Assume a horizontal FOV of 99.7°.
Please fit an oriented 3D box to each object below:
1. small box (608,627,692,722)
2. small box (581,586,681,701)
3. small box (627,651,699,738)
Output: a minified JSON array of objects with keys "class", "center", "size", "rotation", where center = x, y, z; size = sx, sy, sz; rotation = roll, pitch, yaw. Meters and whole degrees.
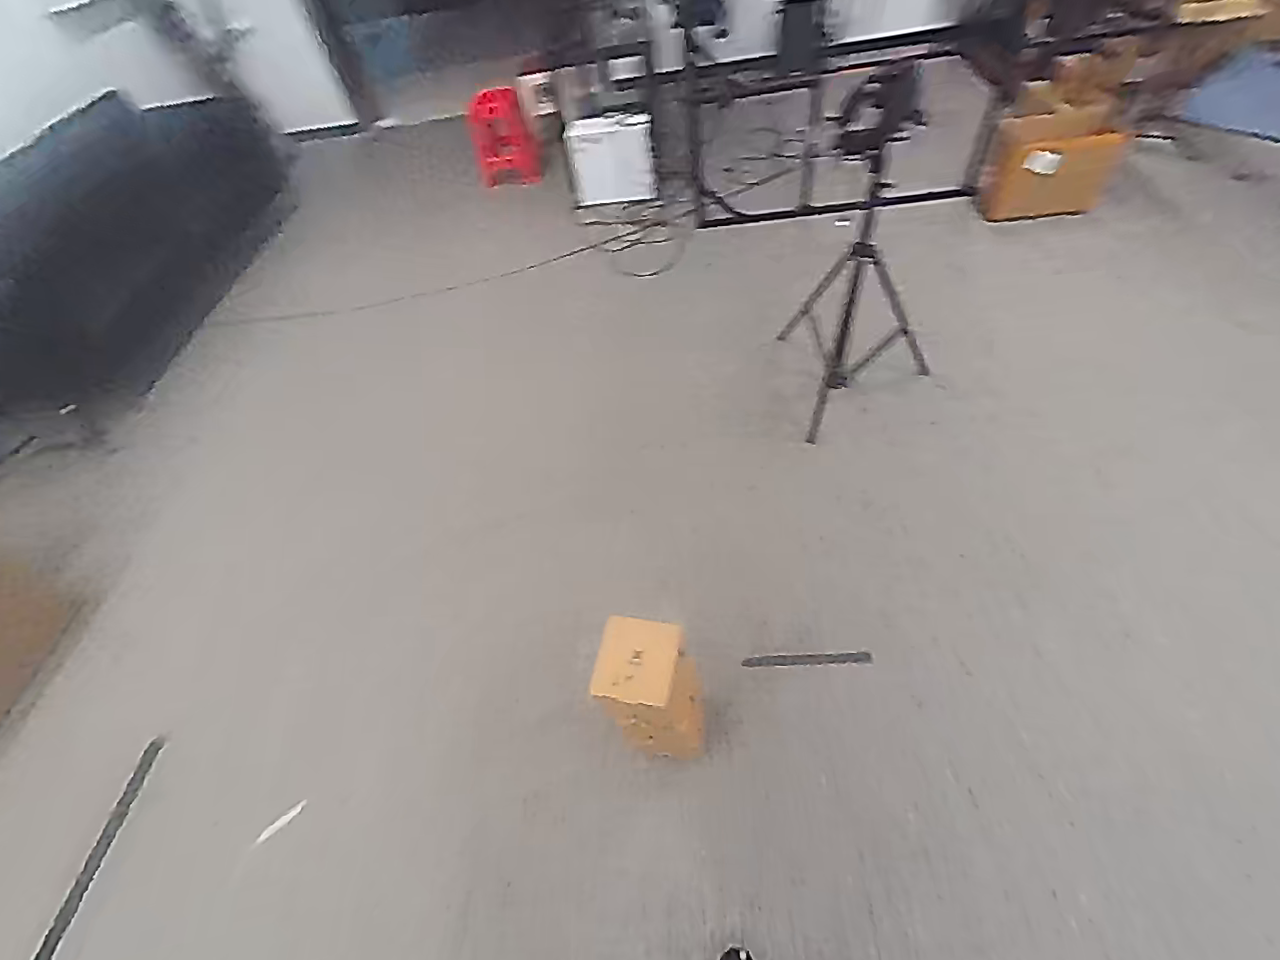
[{"class":"small box","center":[0.032,0.456,1.283],"size":[0.168,0.176,0.179],"rotation":[1,54,12]},{"class":"small box","center":[-0.009,0.352,1.160],"size":[0.168,0.176,0.179],"rotation":[6,55,15]},{"class":"small box","center":[0.065,0.555,1.406],"size":[0.168,0.176,0.179],"rotation":[-1,53,10]}]
